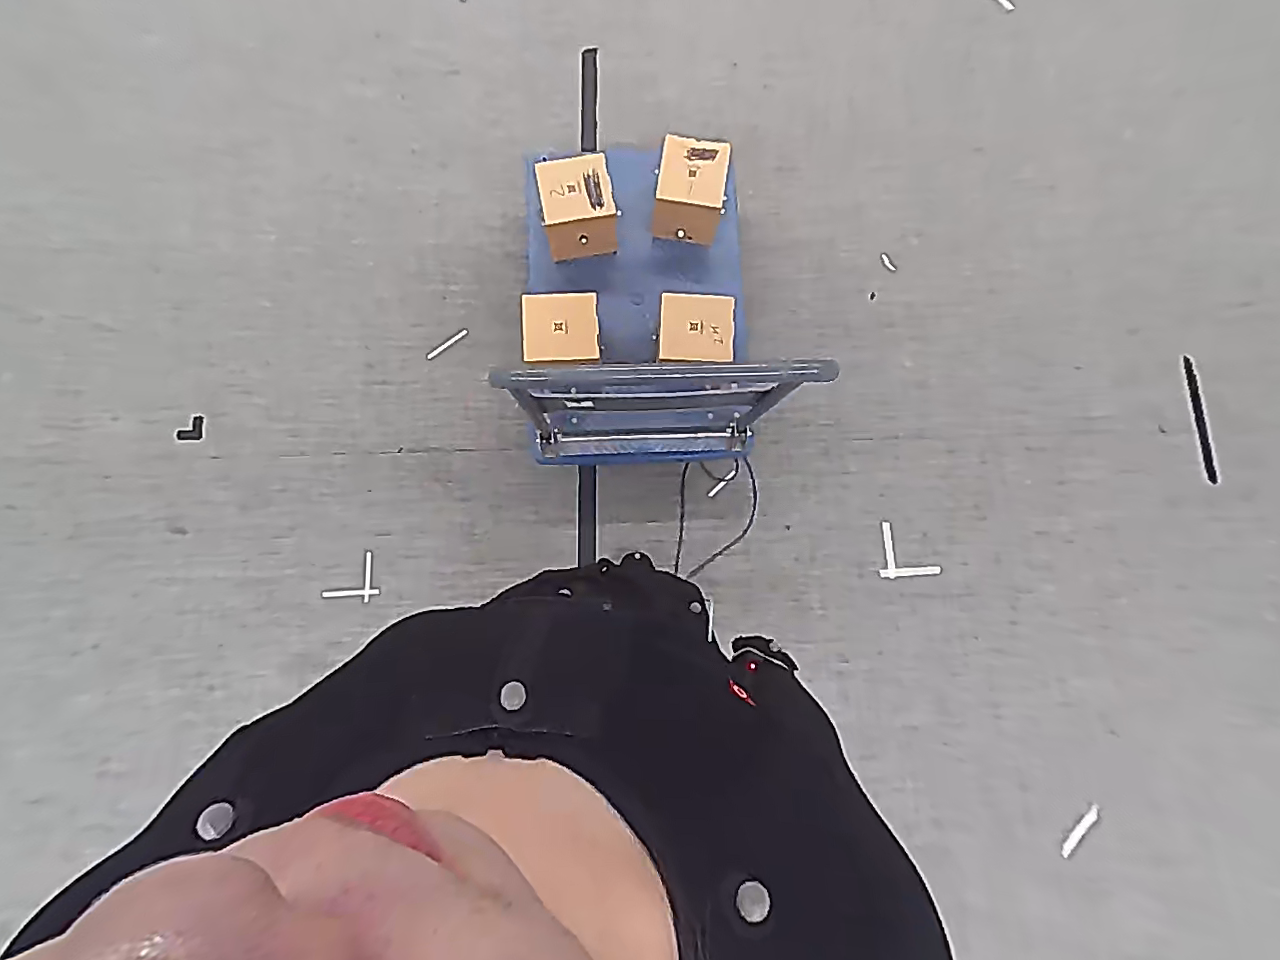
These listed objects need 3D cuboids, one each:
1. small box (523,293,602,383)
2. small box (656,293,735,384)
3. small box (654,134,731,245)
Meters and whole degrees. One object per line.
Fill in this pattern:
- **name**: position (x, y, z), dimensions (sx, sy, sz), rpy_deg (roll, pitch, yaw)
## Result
- **small box**: position (-0.186, -0.342, 1.330), dimensions (0.179, 0.176, 0.168), rpy_deg (-3, 82, -4)
- **small box**: position (0.132, -0.343, 1.339), dimensions (0.179, 0.176, 0.168), rpy_deg (3, 82, -1)
- **small box**: position (0.129, -0.741, 1.394), dimensions (0.168, 0.176, 0.179), rpy_deg (9, 83, 0)
